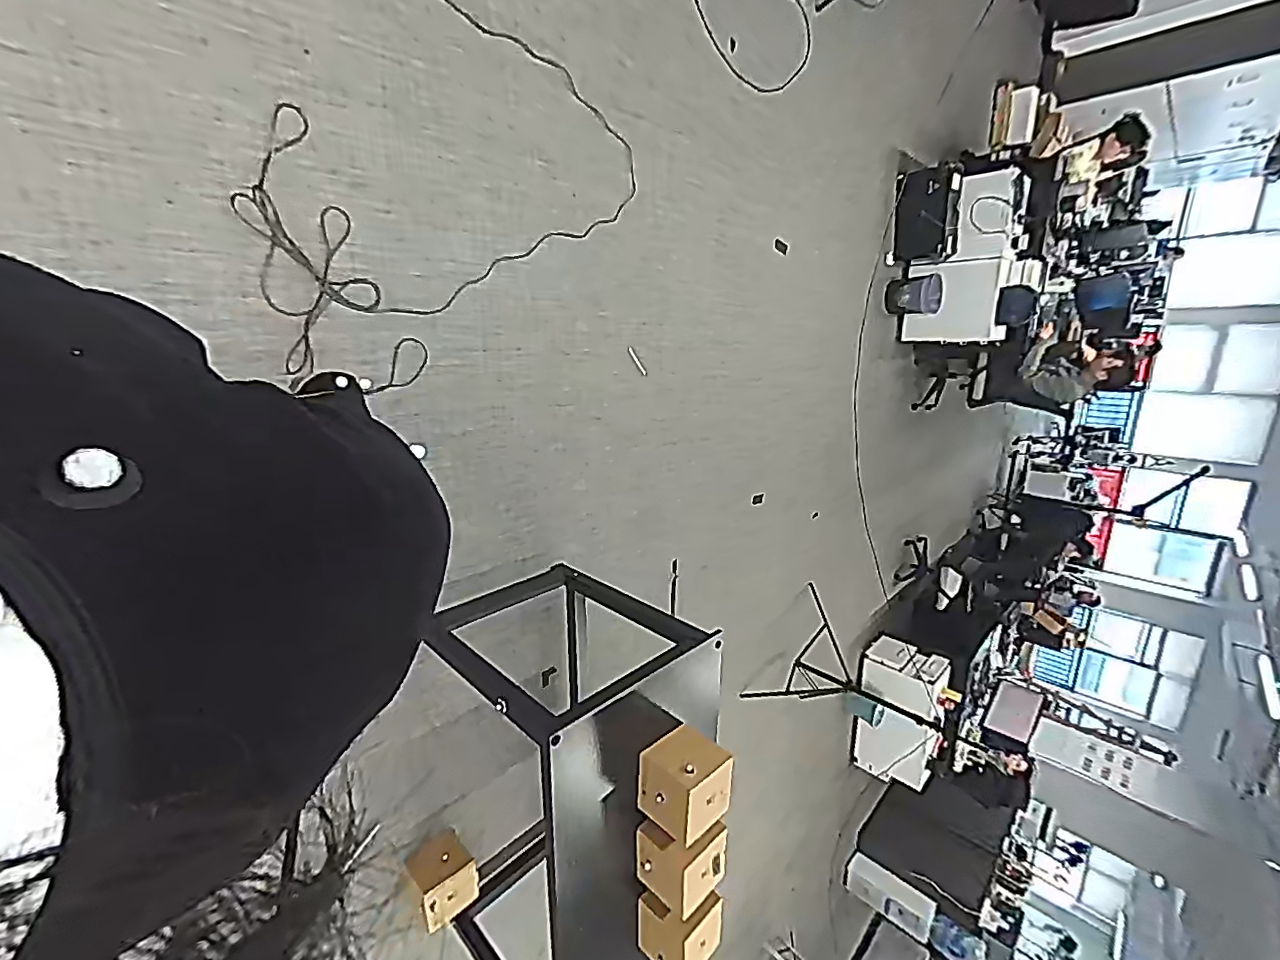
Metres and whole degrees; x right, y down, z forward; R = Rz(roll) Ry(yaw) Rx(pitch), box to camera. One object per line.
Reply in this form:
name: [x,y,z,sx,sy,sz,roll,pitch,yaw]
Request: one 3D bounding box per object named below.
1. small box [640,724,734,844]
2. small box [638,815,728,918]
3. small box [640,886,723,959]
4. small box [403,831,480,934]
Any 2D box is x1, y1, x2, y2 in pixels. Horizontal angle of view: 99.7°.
small box: [0.116,0.764,1.378,0.179,0.176,0.168,-11,108,-45]
small box: [0.113,0.982,1.433,0.179,0.176,0.168,-15,111,-43]
small box: [0.113,1.222,1.498,0.168,0.176,0.179,-15,110,-45]
small box: [-0.655,1.317,1.787,0.179,0.176,0.168,-16,111,-44]
